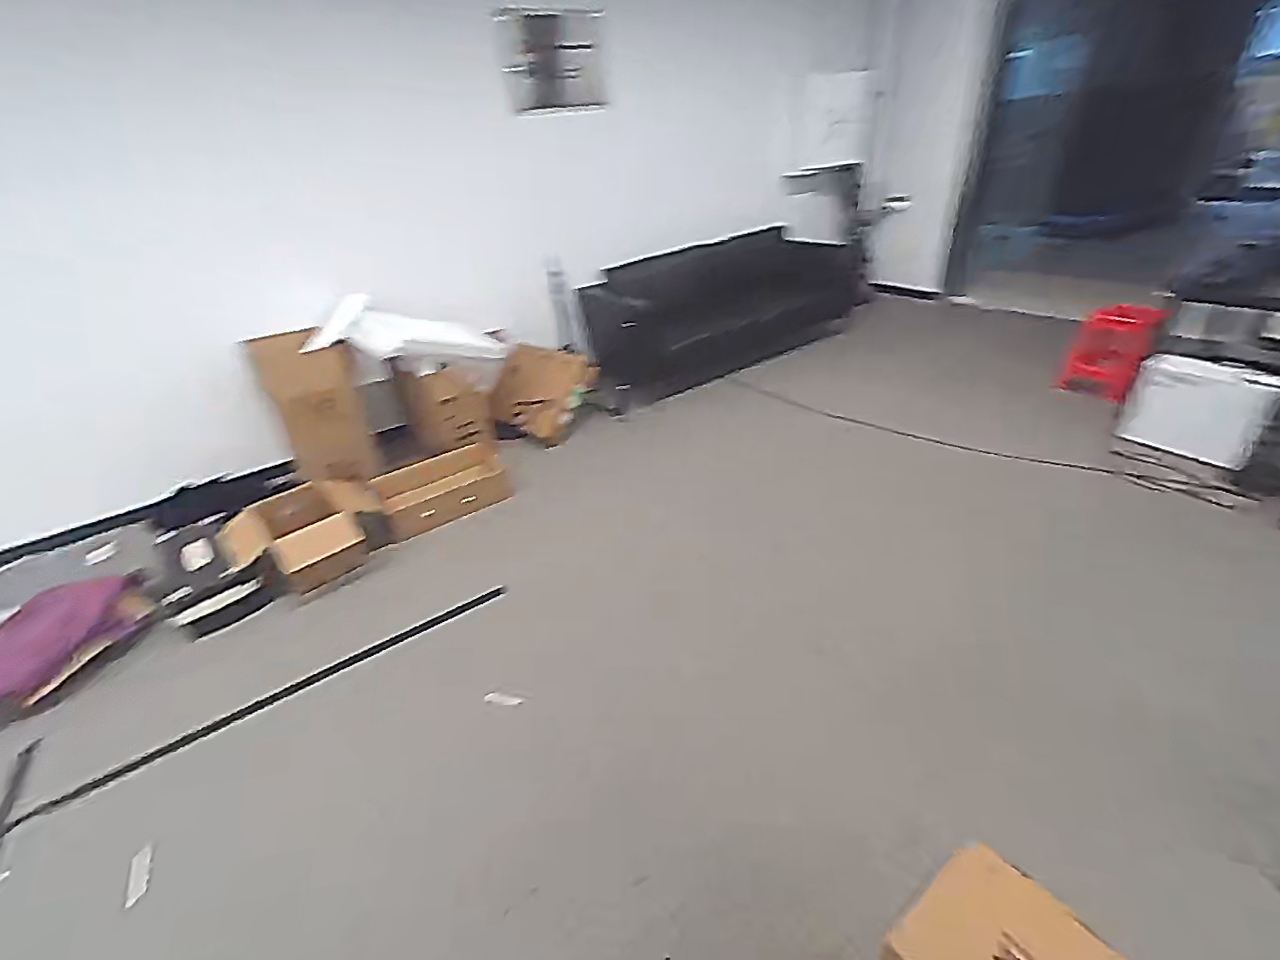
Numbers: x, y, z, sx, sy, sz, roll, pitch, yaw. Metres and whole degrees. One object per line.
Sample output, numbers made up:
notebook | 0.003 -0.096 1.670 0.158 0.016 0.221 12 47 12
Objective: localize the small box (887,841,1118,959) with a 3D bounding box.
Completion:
small box | 0.386 0.559 0.592 0.179 0.176 0.168 -24 33 -24
